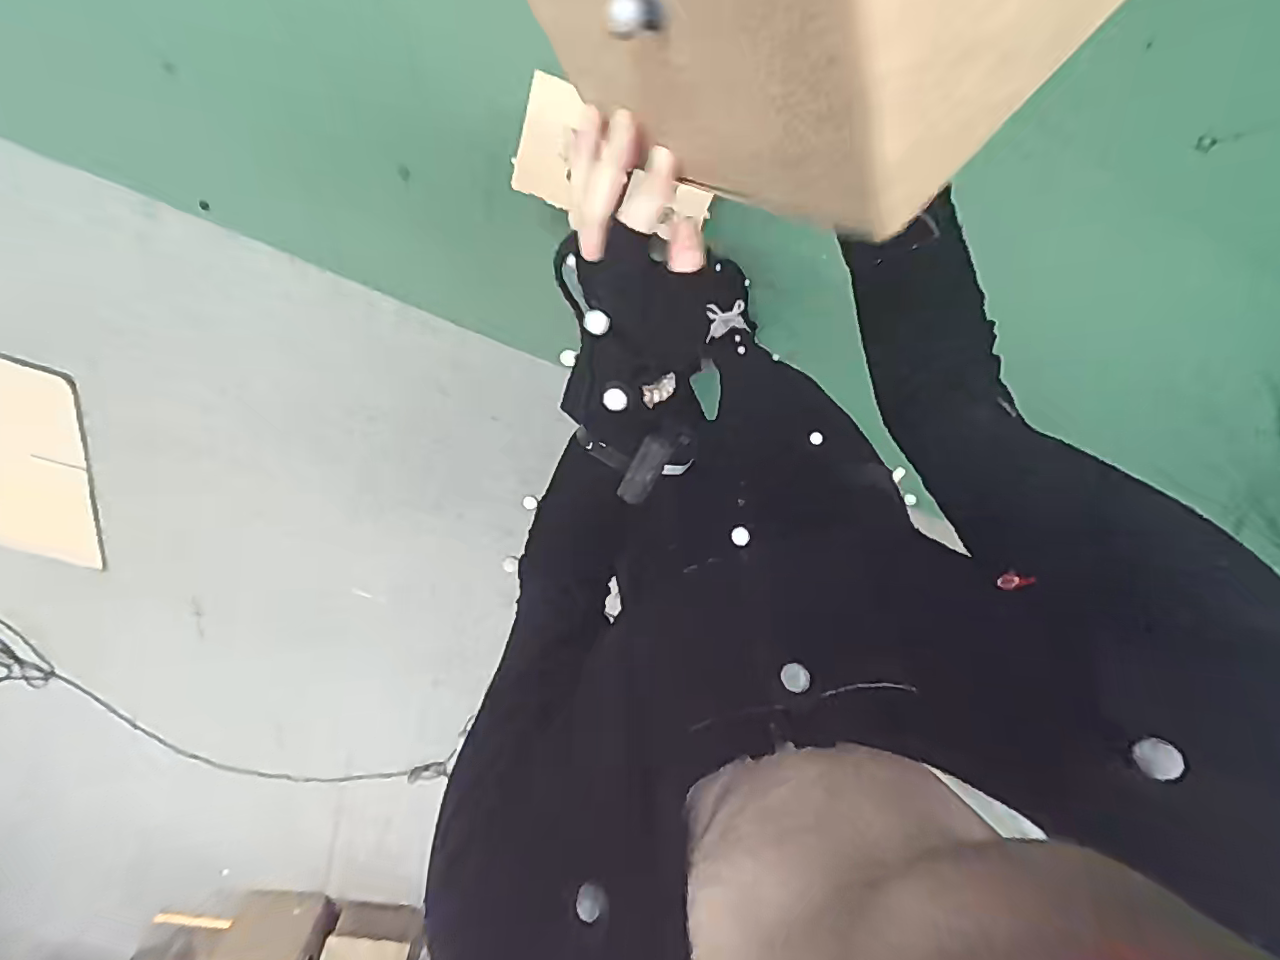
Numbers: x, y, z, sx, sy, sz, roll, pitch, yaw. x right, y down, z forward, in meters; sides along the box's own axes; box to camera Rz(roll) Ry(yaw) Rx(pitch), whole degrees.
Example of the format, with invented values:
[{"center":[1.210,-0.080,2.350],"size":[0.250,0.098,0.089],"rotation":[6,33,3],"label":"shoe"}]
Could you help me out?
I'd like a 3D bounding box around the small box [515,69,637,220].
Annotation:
[{"center":[-0.110,-0.590,0.968],"size":[0.168,0.176,0.179],"rotation":[17,118,-8],"label":"small box"}]
